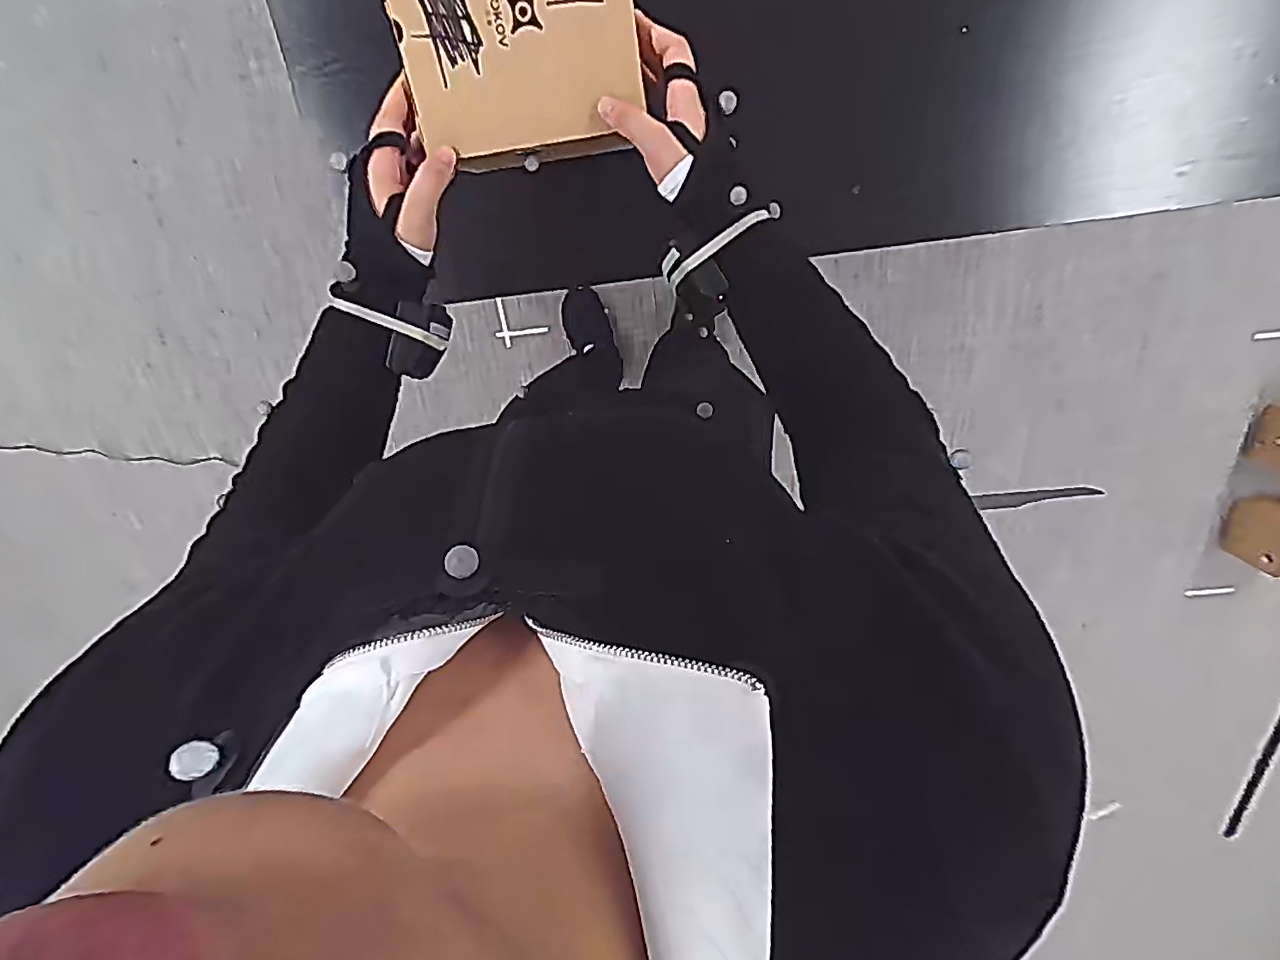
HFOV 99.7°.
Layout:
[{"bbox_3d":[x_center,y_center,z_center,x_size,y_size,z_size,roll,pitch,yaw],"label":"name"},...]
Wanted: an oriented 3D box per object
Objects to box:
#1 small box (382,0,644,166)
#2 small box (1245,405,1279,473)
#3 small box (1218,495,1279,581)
[{"bbox_3d":[-0.094,-0.367,0.446,0.179,0.176,0.168,-8,118,1],"label":"small box"},{"bbox_3d":[1.770,-0.100,1.413,0.179,0.176,0.168,-4,113,2],"label":"small box"},{"bbox_3d":[1.809,0.160,1.525,0.168,0.176,0.179,-7,113,3],"label":"small box"}]
